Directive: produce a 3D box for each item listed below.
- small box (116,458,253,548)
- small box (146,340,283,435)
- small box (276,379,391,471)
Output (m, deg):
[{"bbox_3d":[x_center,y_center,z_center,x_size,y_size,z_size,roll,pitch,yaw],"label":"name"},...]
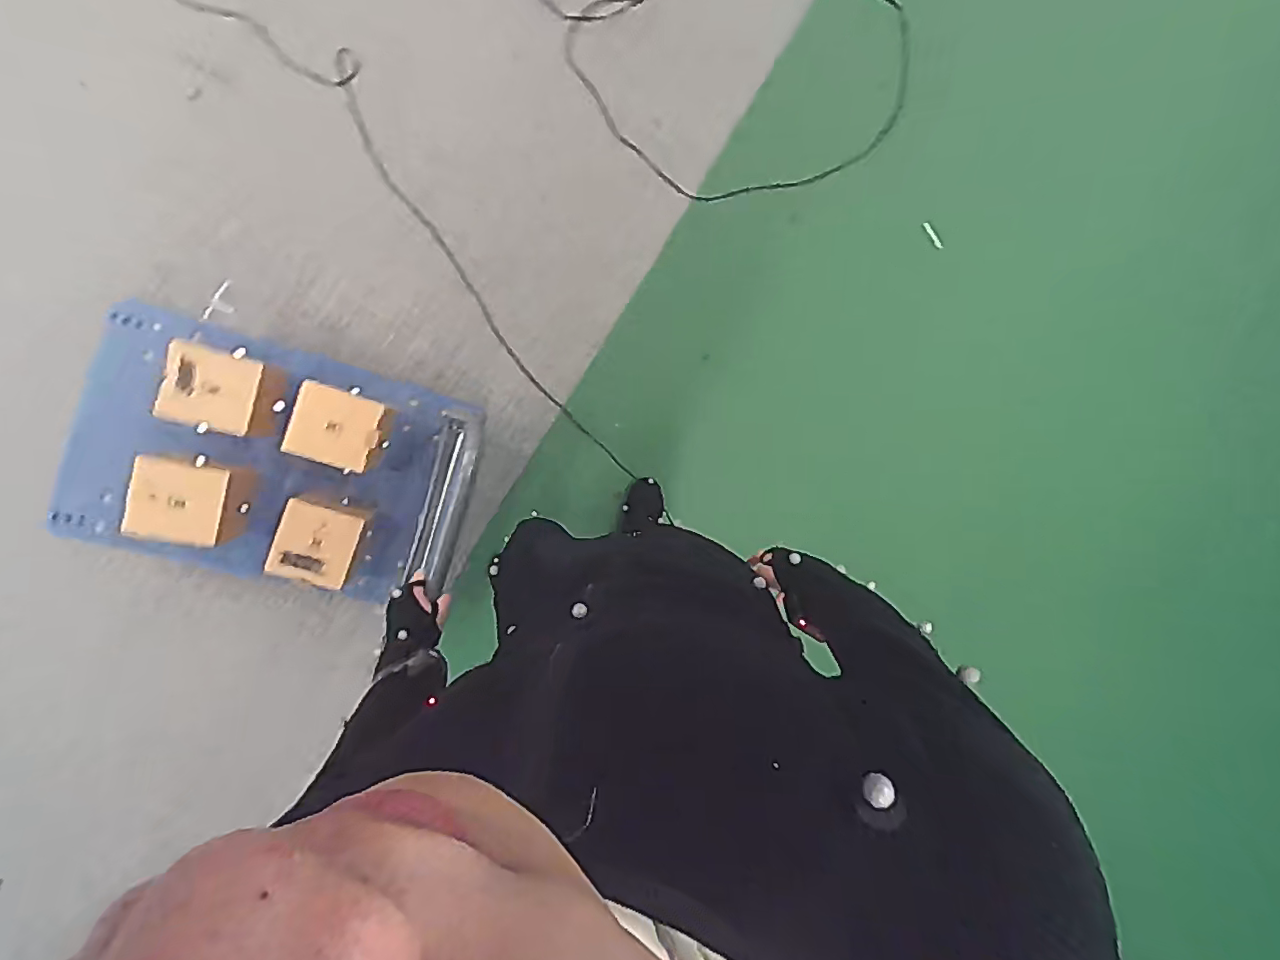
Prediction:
[{"bbox_3d":[-1.019,0.045,1.227,0.179,0.176,0.168,12,91,-15],"label":"small box"},{"bbox_3d":[-0.951,-0.200,1.223,0.179,0.176,0.168,14,92,-16],"label":"small box"},{"bbox_3d":[-0.722,-0.127,1.292,0.179,0.176,0.168,18,90,-16],"label":"small box"}]
